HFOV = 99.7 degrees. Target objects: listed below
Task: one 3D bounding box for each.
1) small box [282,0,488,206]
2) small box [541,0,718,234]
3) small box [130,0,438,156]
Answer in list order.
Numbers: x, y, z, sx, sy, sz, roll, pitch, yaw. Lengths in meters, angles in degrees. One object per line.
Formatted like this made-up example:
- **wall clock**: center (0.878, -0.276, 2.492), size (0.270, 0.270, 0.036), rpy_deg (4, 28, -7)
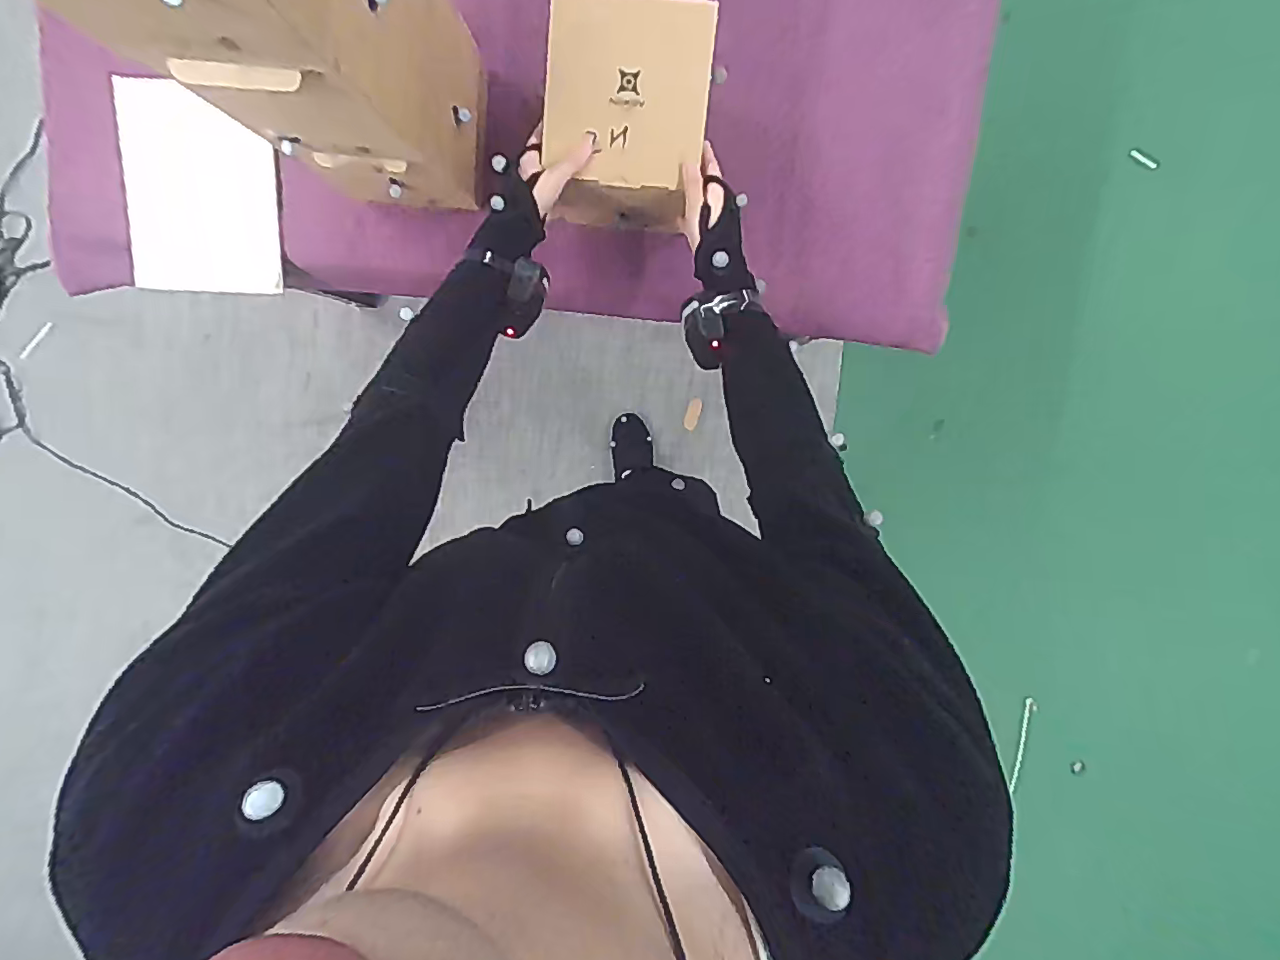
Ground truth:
- **small box**: center (-0.285, -0.442, 0.632), size (0.168, 0.176, 0.179), rpy_deg (6, 99, 0)
- **small box**: center (-0.011, -0.406, 0.626), size (0.168, 0.176, 0.179), rpy_deg (6, 101, 2)
- **small box**: center (-0.289, -0.412, 0.470), size (0.168, 0.176, 0.179), rpy_deg (6, 98, 1)
